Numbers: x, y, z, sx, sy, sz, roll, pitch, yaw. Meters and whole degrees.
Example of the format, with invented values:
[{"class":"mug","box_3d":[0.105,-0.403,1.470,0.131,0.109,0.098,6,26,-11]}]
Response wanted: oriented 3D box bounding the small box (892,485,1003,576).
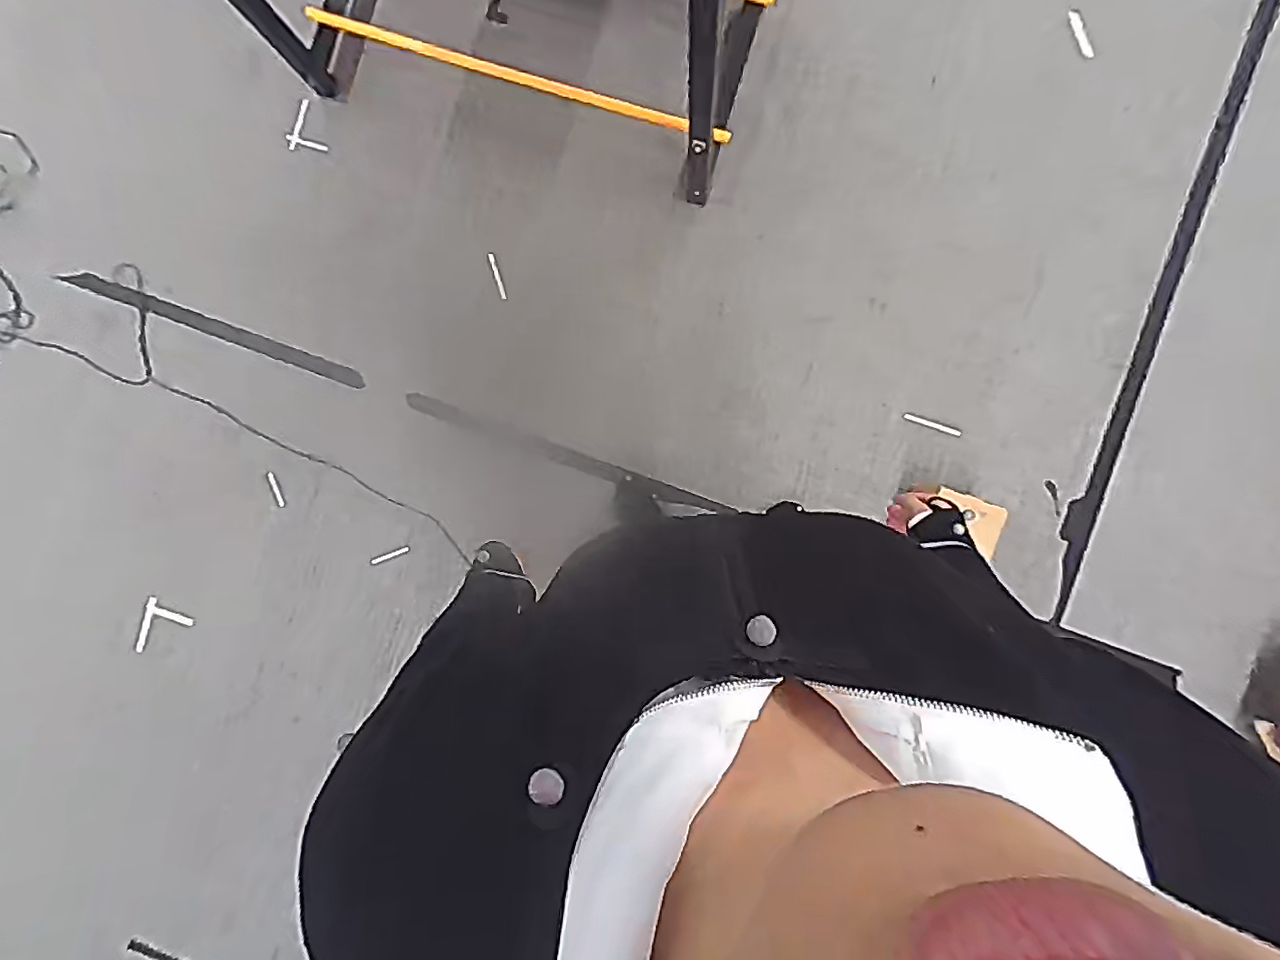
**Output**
[{"class":"small box","box_3d":[0.767,0.121,1.374,0.168,0.176,0.179,20,91,4]}]
